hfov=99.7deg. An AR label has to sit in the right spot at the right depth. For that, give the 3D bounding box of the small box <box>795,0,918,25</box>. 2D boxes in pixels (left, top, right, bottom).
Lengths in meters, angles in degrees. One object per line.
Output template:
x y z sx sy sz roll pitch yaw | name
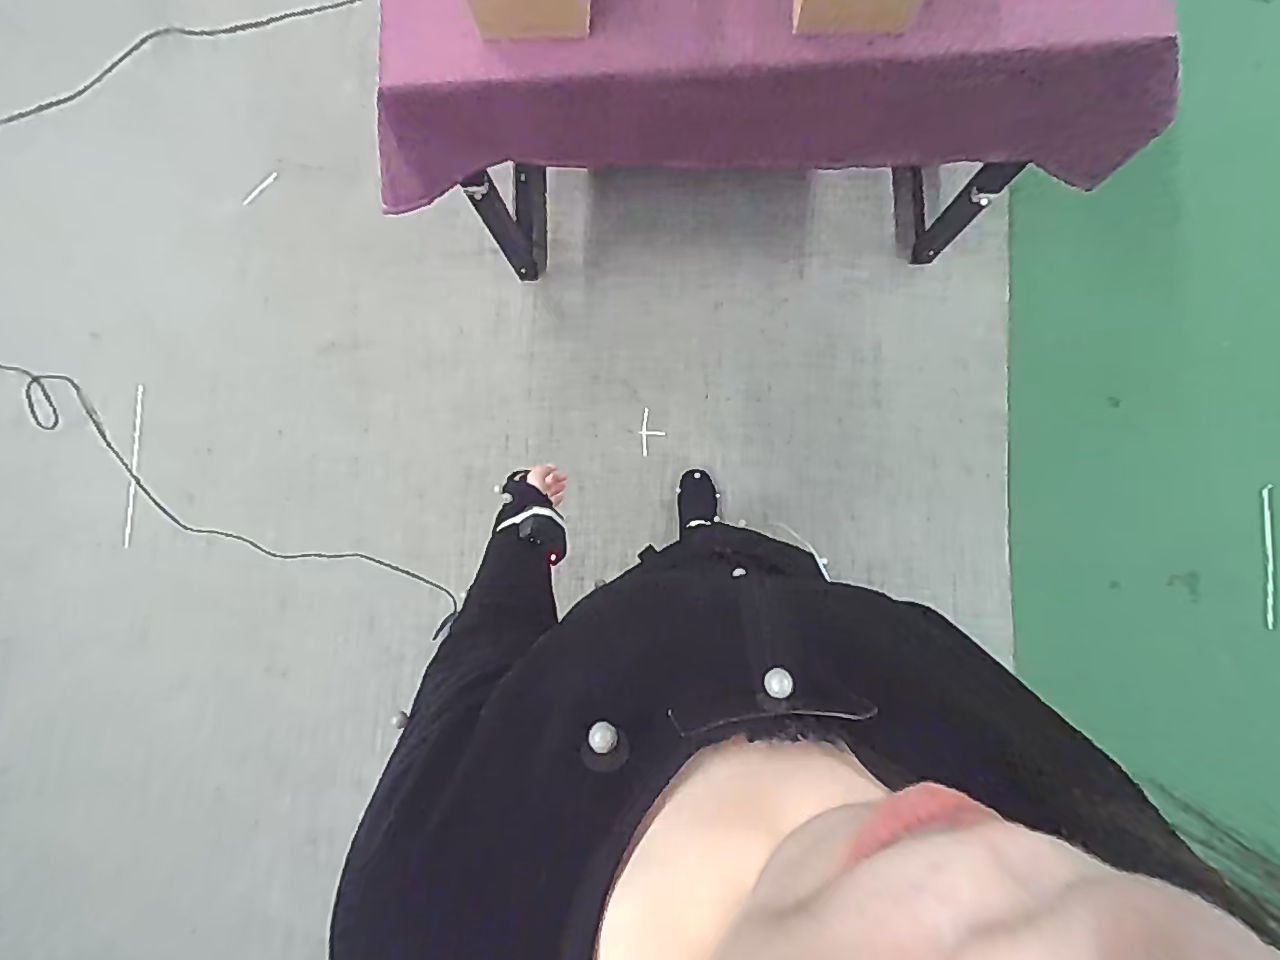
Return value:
0.319 -0.767 0.735 0.179 0.176 0.168 2 86 5 | small box

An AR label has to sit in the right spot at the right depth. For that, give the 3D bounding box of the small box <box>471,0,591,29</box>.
-0.166 -0.785 0.764 0.179 0.176 0.168 3 87 3 | small box
